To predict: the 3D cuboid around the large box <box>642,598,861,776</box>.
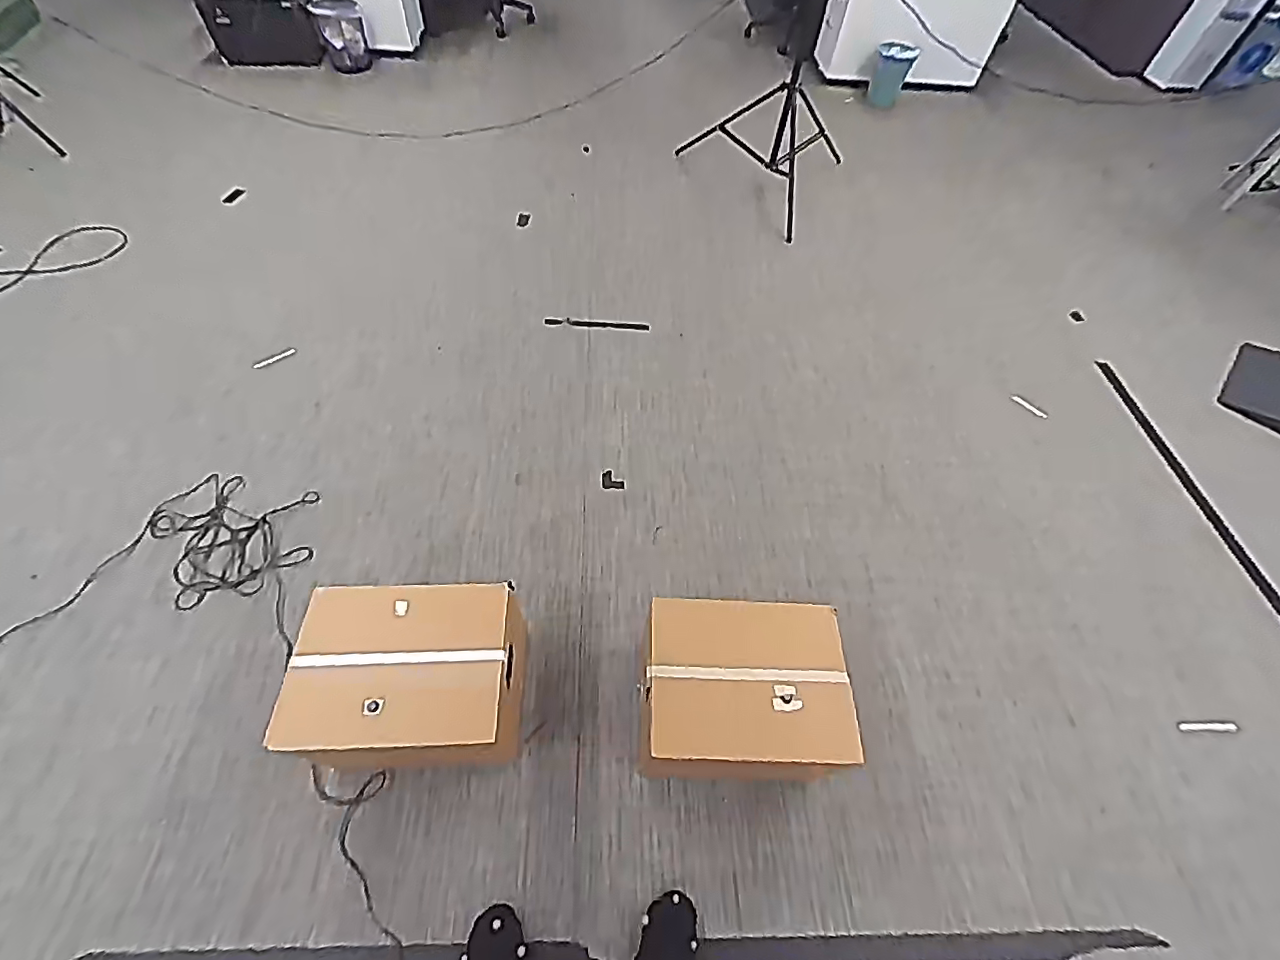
[{"bbox_3d":[0.214,0.476,1.220,0.408,0.320,0.320,4,56,-3],"label":"large box"}]
